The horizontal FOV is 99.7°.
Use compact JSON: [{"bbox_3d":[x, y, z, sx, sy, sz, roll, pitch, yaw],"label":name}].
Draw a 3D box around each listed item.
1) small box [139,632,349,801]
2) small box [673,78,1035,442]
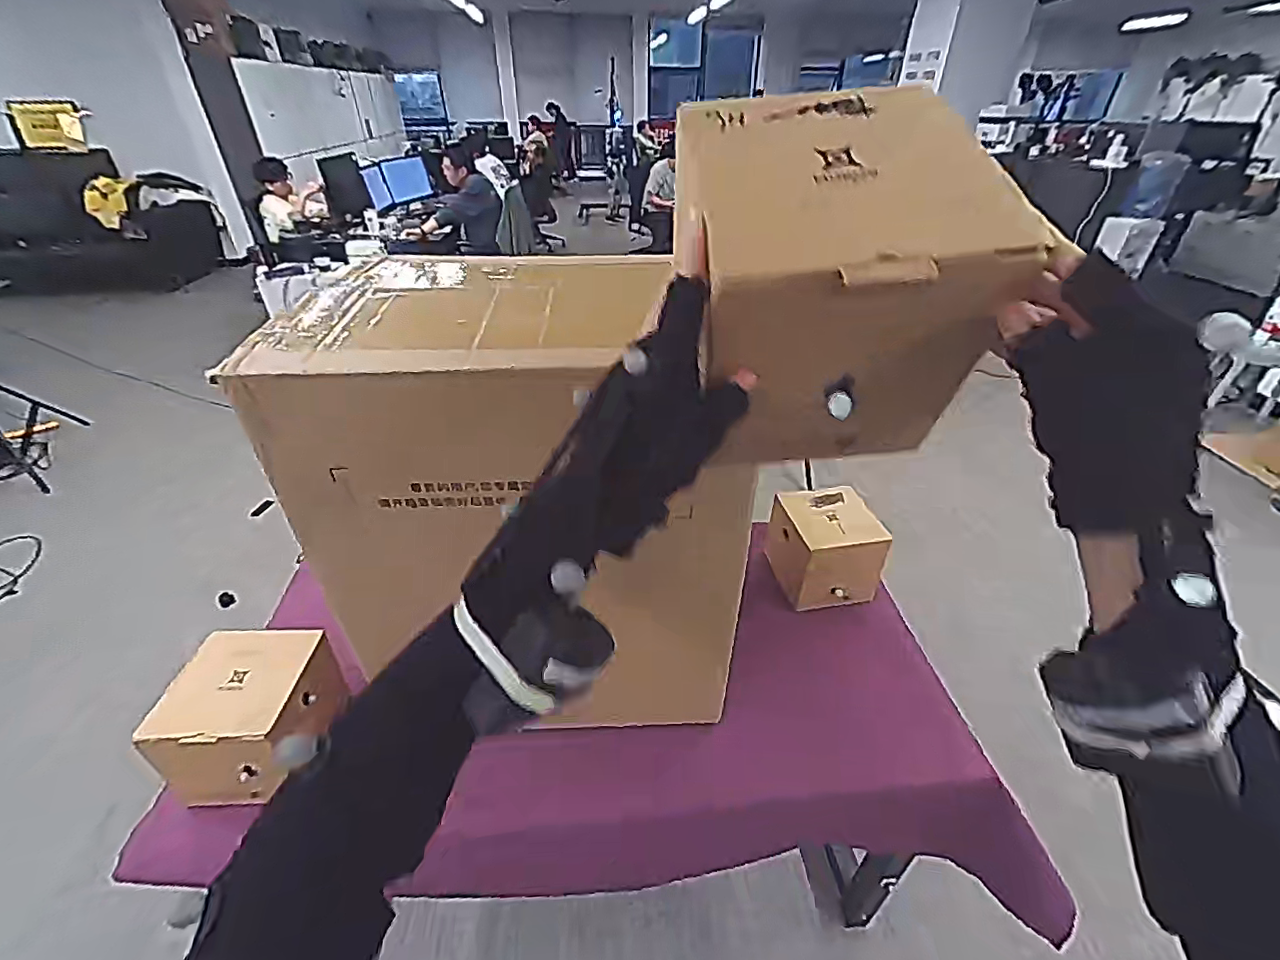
[{"bbox_3d":[-0.555,0.347,0.793,0.168,0.176,0.179,1,32,-4],"label":"small box"},{"bbox_3d":[0.114,-0.139,0.377,0.168,0.176,0.179,-5,58,0],"label":"small box"}]
